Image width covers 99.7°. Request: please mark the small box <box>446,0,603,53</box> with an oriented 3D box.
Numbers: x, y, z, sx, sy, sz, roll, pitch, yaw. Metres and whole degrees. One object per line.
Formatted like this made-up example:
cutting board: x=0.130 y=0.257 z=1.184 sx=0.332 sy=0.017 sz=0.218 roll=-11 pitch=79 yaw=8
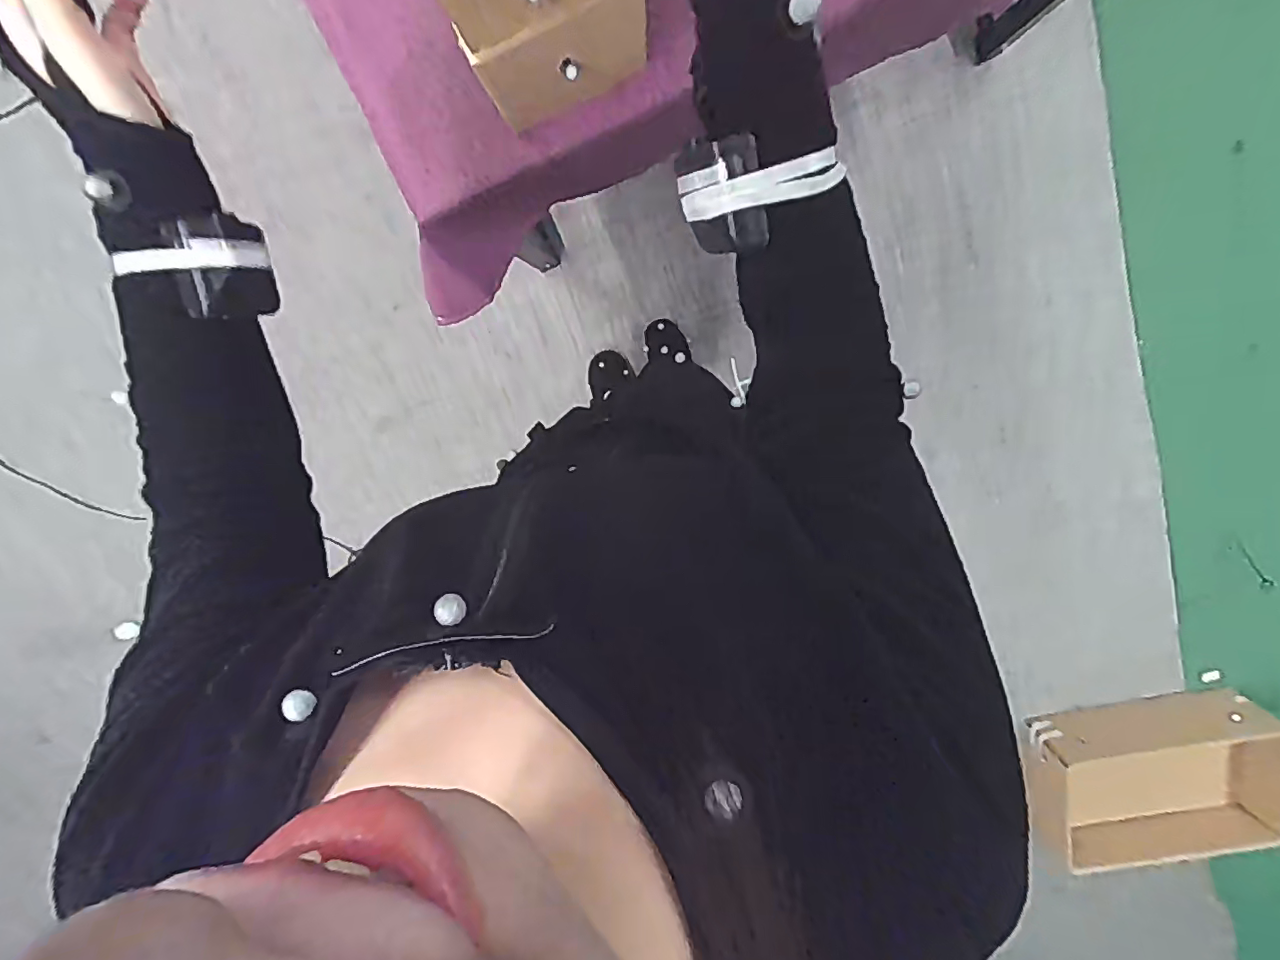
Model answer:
small box: x=-0.106 y=-0.469 z=0.387 sx=0.168 sy=0.176 sz=0.179 roll=-22 pitch=104 yaw=6
